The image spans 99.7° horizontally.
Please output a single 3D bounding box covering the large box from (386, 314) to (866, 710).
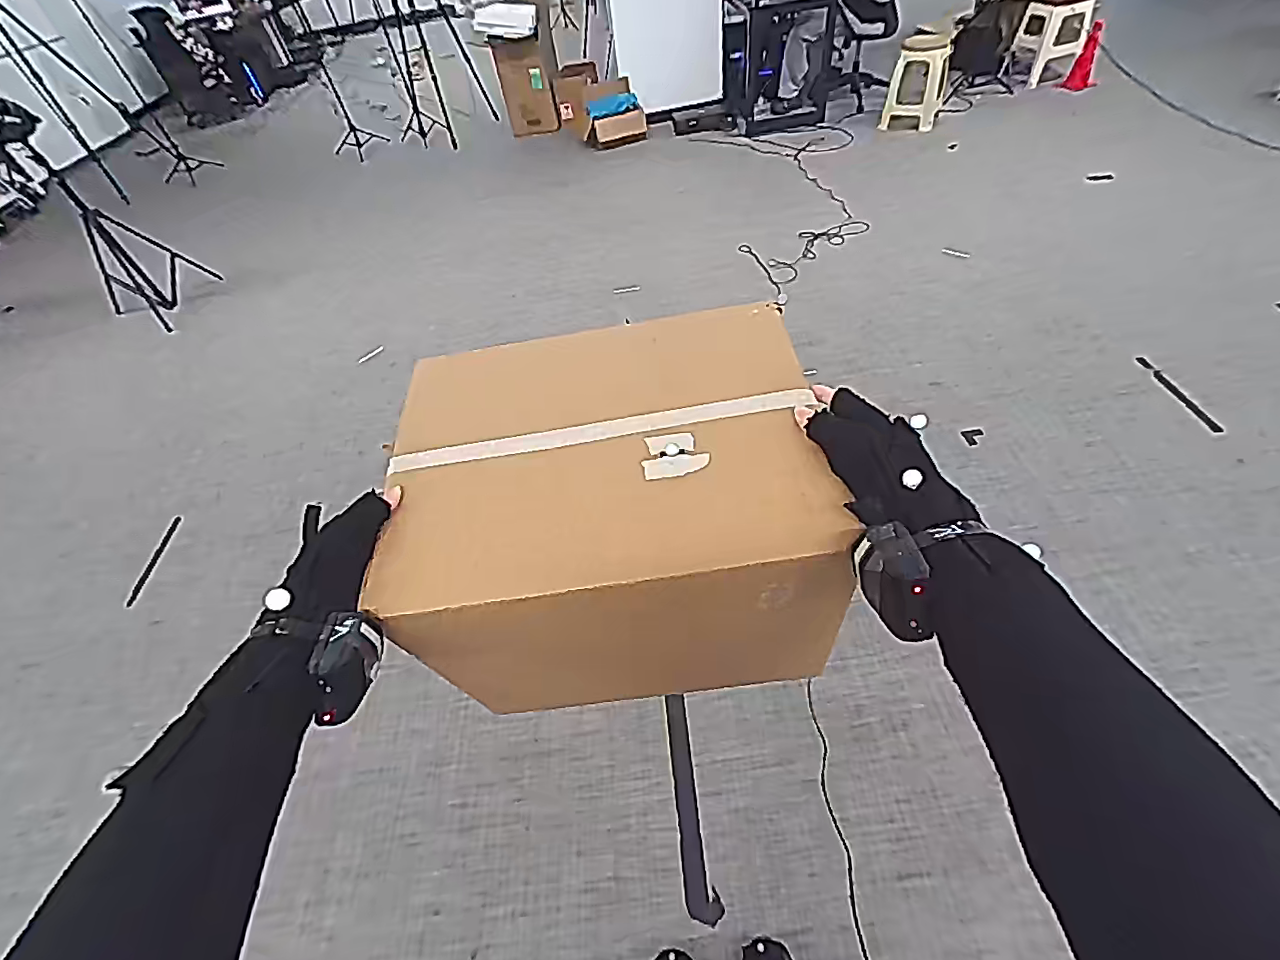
[{"bbox_3d":[-0.011,0.051,0.641,0.408,0.320,0.320,-8,53,3],"label":"large box"}]
